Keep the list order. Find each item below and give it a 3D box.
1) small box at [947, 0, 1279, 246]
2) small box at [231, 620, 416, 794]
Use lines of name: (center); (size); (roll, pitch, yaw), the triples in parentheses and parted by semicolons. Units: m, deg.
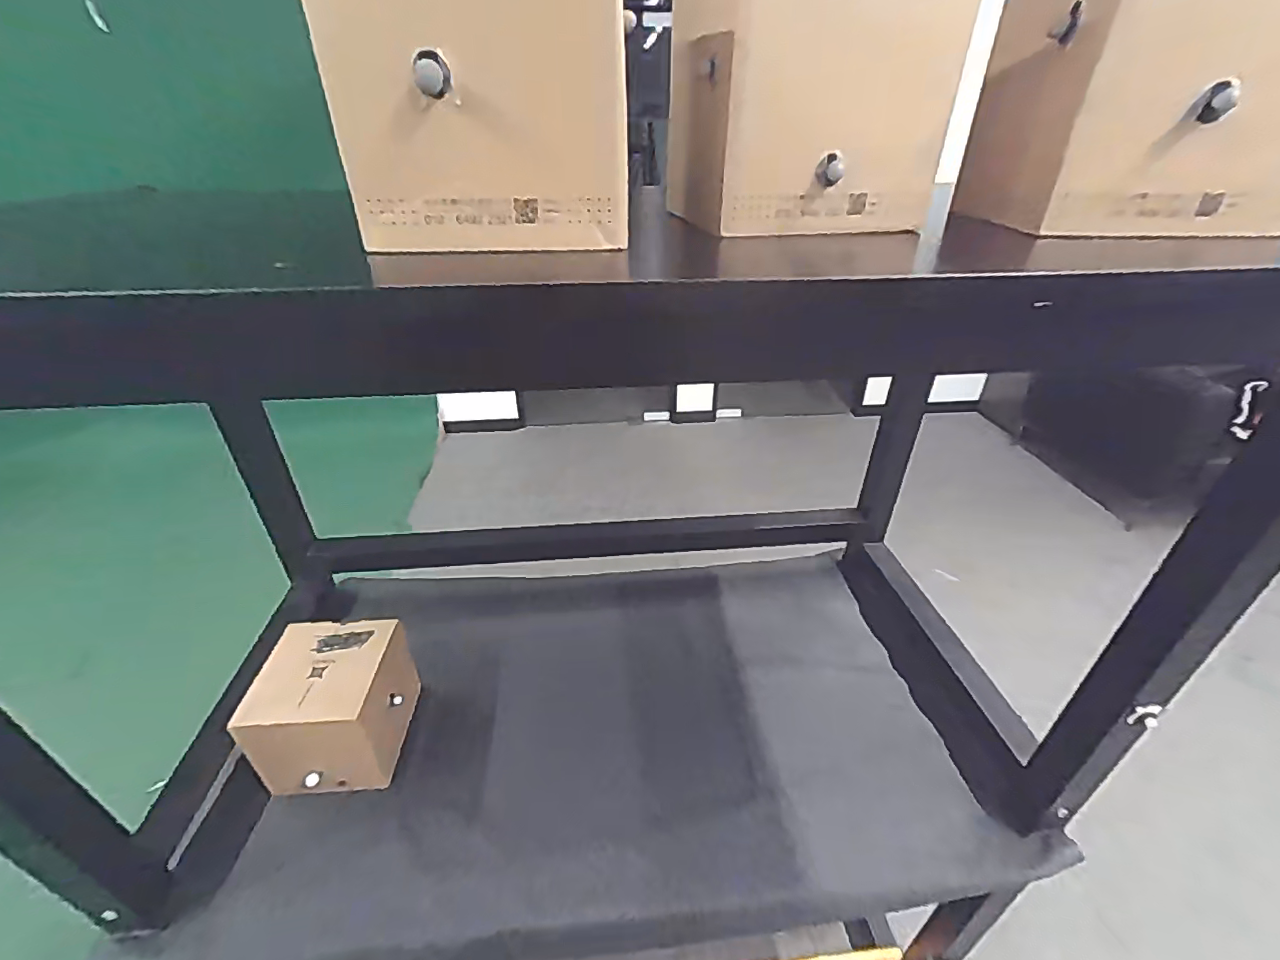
small box: (0.372, -0.282, 0.416); (0.168, 0.176, 0.179); (3, 32, 5)
small box: (-0.451, 0.334, 0.809); (0.168, 0.176, 0.179); (-2, 33, -4)
